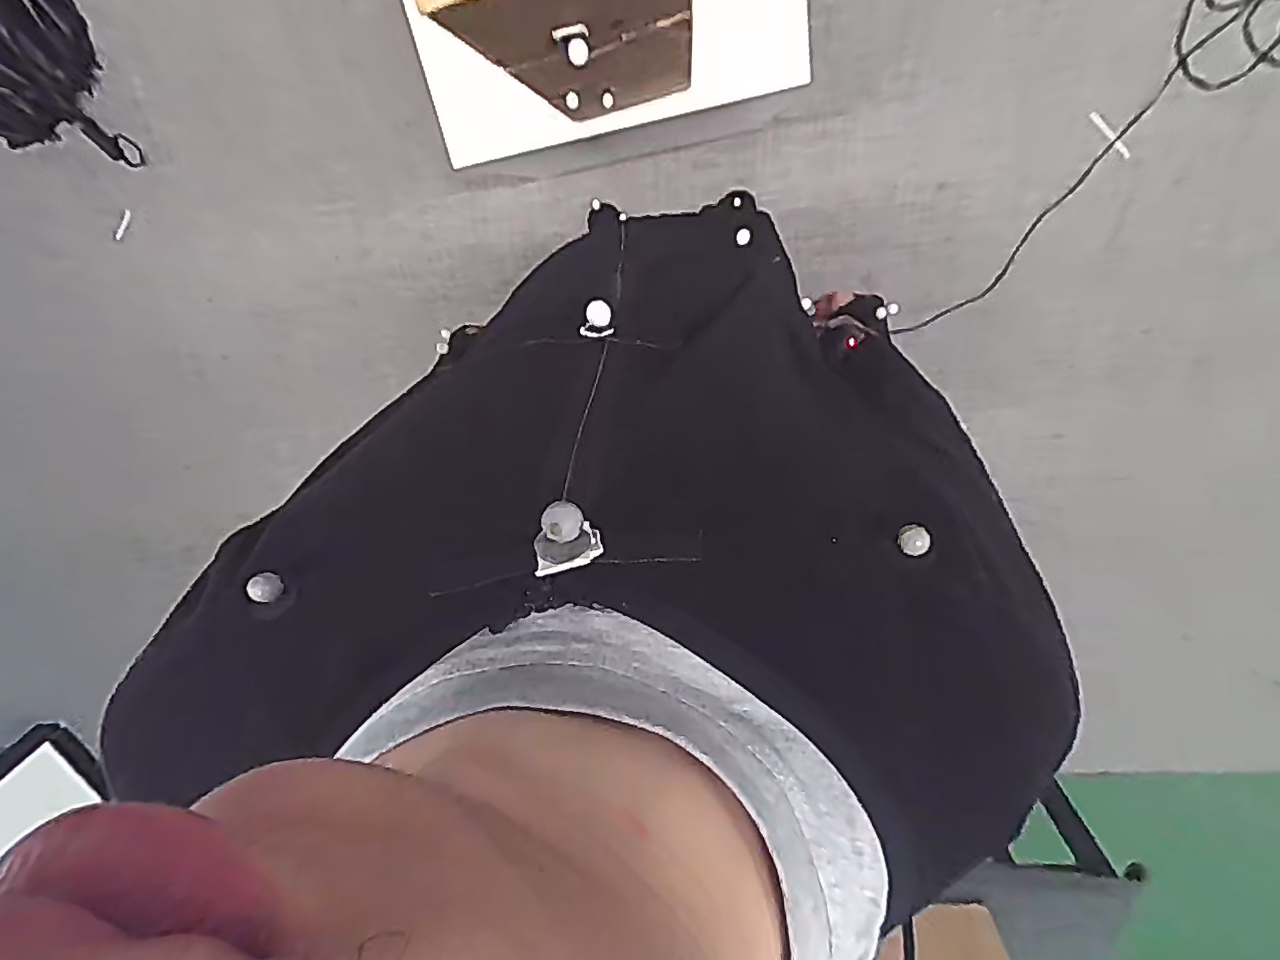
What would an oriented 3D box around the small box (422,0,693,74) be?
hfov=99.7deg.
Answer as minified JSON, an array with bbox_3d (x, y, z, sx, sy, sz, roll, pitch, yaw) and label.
[{"bbox_3d":[-0.061,-0.396,0.337,0.168,0.176,0.179,-11,115,11],"label":"small box"}]

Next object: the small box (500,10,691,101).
[{"bbox_3d":[-0.048,-0.467,0.483,0.168,0.176,0.179,-10,114,10],"label":"small box"}]

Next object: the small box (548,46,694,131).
[{"bbox_3d":[-0.035,-0.539,0.632,0.168,0.176,0.179,-11,115,11],"label":"small box"}]
